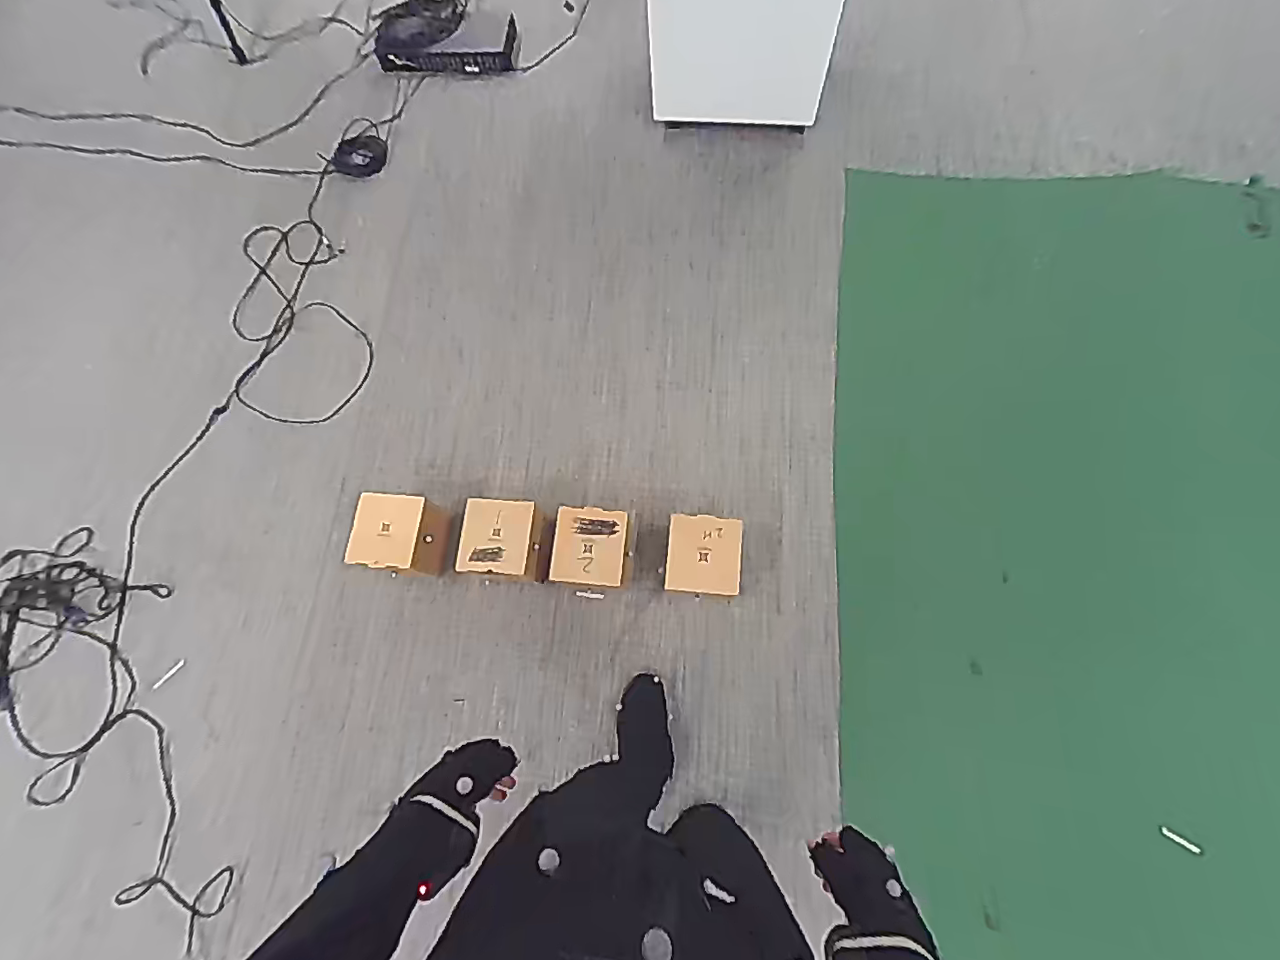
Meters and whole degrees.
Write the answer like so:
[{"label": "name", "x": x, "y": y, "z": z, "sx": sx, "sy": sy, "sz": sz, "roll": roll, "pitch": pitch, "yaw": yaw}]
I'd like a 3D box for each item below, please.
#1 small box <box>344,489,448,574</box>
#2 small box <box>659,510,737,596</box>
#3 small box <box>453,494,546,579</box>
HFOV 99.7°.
[{"label": "small box", "x": -0.605, "y": 0.134, "z": 1.367, "sx": 0.168, "sy": 0.176, "sz": 0.179, "roll": 4, "pitch": 73, "yaw": 6}, {"label": "small box", "x": 0.138, "y": 0.181, "z": 1.299, "sx": 0.168, "sy": 0.176, "sz": 0.179, "roll": 5, "pitch": 73, "yaw": 5}, {"label": "small box", "x": -0.340, "y": 0.145, "z": 1.341, "sx": 0.168, "sy": 0.176, "sz": 0.179, "roll": 3, "pitch": 72, "yaw": 6}]
